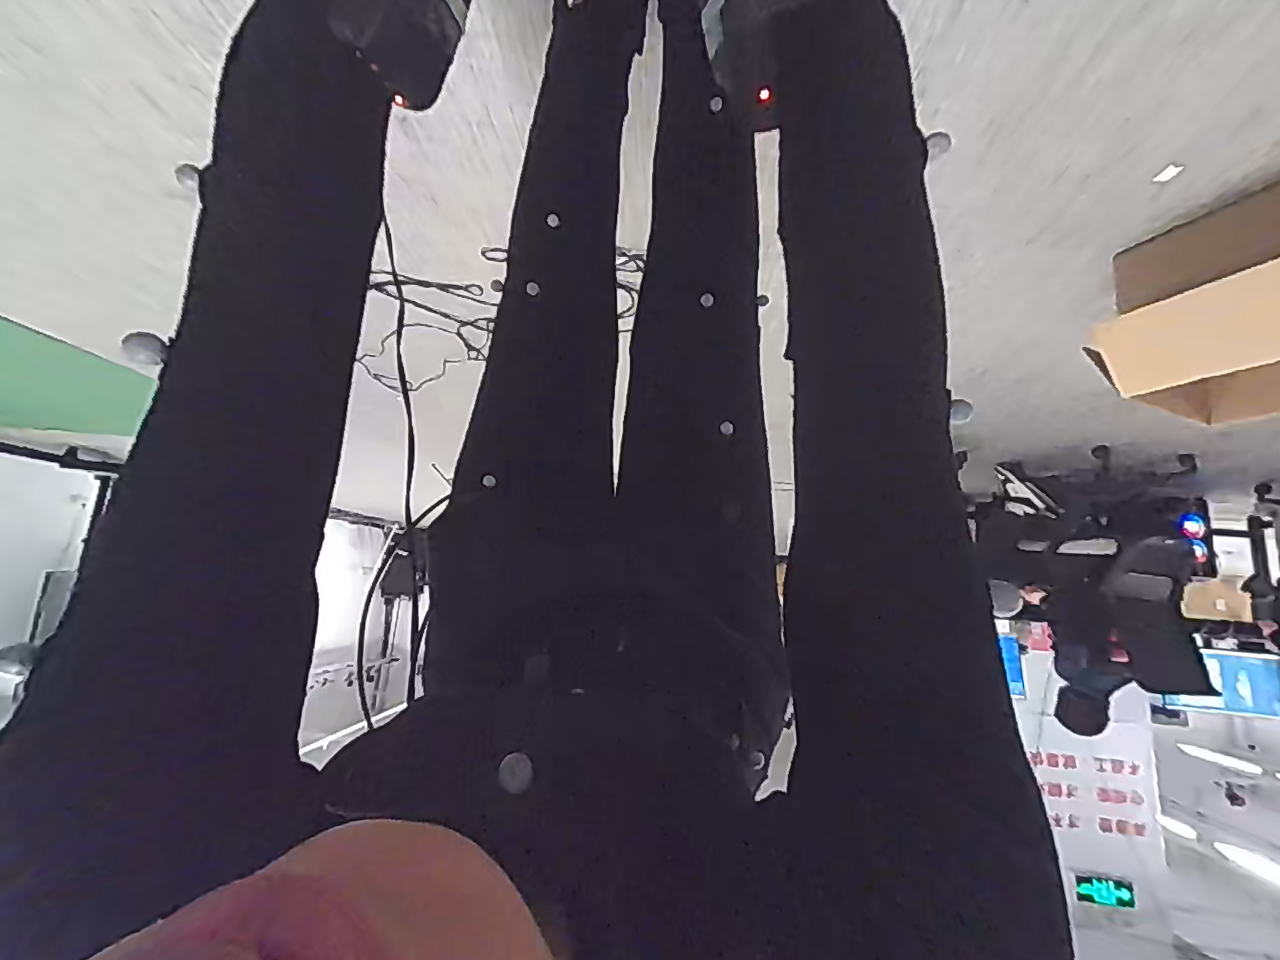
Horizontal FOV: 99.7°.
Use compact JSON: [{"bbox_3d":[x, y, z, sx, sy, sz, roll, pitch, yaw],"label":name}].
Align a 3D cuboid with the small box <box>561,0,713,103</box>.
[{"bbox_3d":[-0.011,-0.583,0.626,0.168,0.176,0.179,-6,171,-3],"label":"small box"}]
